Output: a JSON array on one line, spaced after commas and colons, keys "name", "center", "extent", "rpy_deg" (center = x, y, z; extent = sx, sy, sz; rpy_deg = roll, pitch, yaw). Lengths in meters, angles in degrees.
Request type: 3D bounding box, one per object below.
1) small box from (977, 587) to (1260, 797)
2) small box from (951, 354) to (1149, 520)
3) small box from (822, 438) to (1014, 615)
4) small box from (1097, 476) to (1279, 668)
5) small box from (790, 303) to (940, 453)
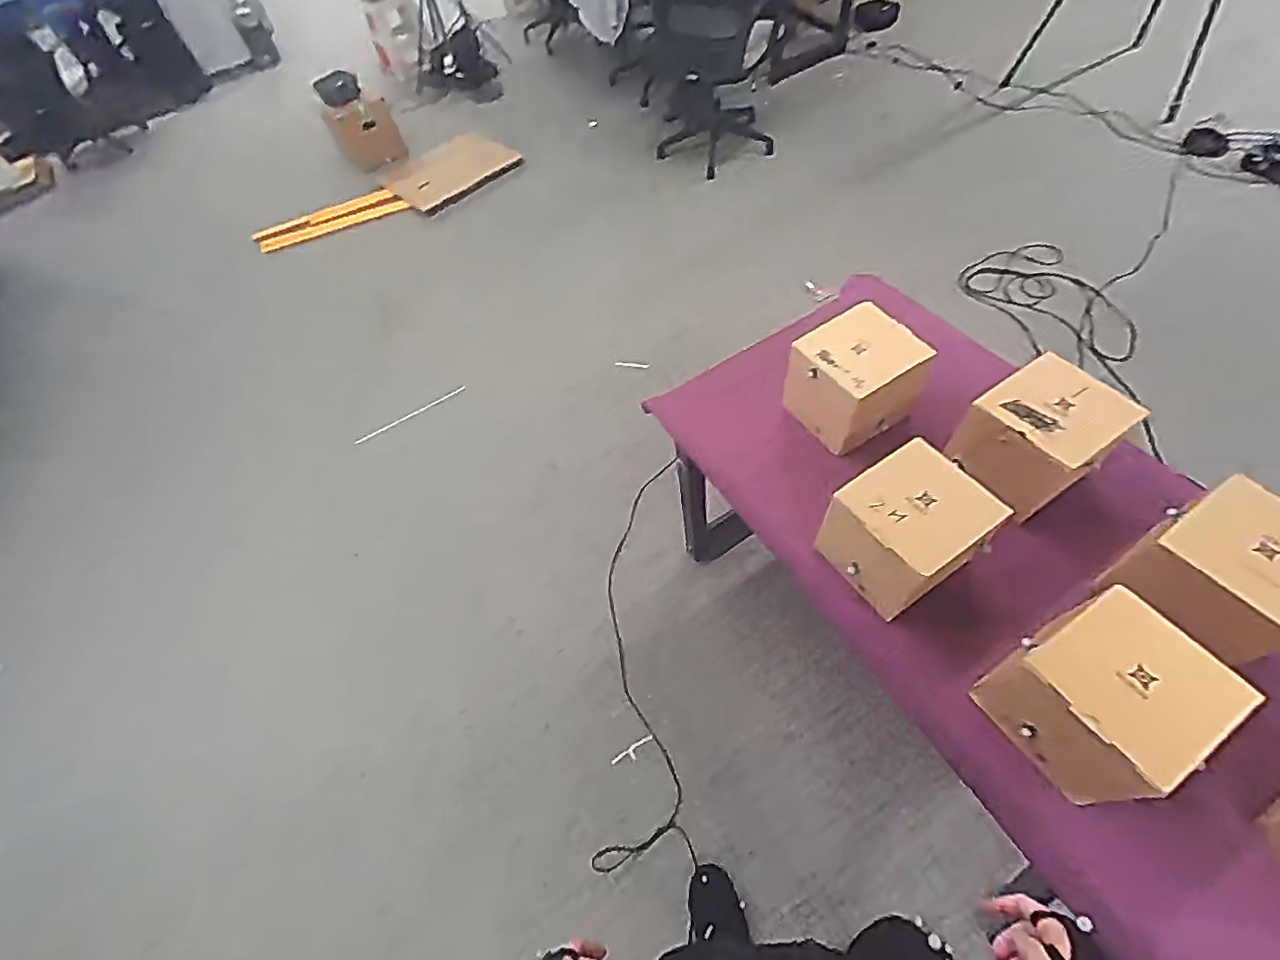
[{"name": "small box", "center": [0.576, 0.270, 0.682], "extent": [0.179, 0.176, 0.168], "rpy_deg": [-30, 59, -12]}, {"name": "small box", "center": [0.647, -0.065, 0.885], "extent": [0.179, 0.176, 0.168], "rpy_deg": [-31, 59, -12]}, {"name": "small box", "center": [0.406, 0.075, 0.826], "extent": [0.179, 0.176, 0.168], "rpy_deg": [-31, 59, -13]}, {"name": "small box", "center": [0.794, 0.133, 0.741], "extent": [0.179, 0.176, 0.168], "rpy_deg": [-32, 58, -11]}, {"name": "small box", "center": [0.397, -0.183, 0.991], "extent": [0.179, 0.176, 0.168], "rpy_deg": [-29, 57, -11]}]
